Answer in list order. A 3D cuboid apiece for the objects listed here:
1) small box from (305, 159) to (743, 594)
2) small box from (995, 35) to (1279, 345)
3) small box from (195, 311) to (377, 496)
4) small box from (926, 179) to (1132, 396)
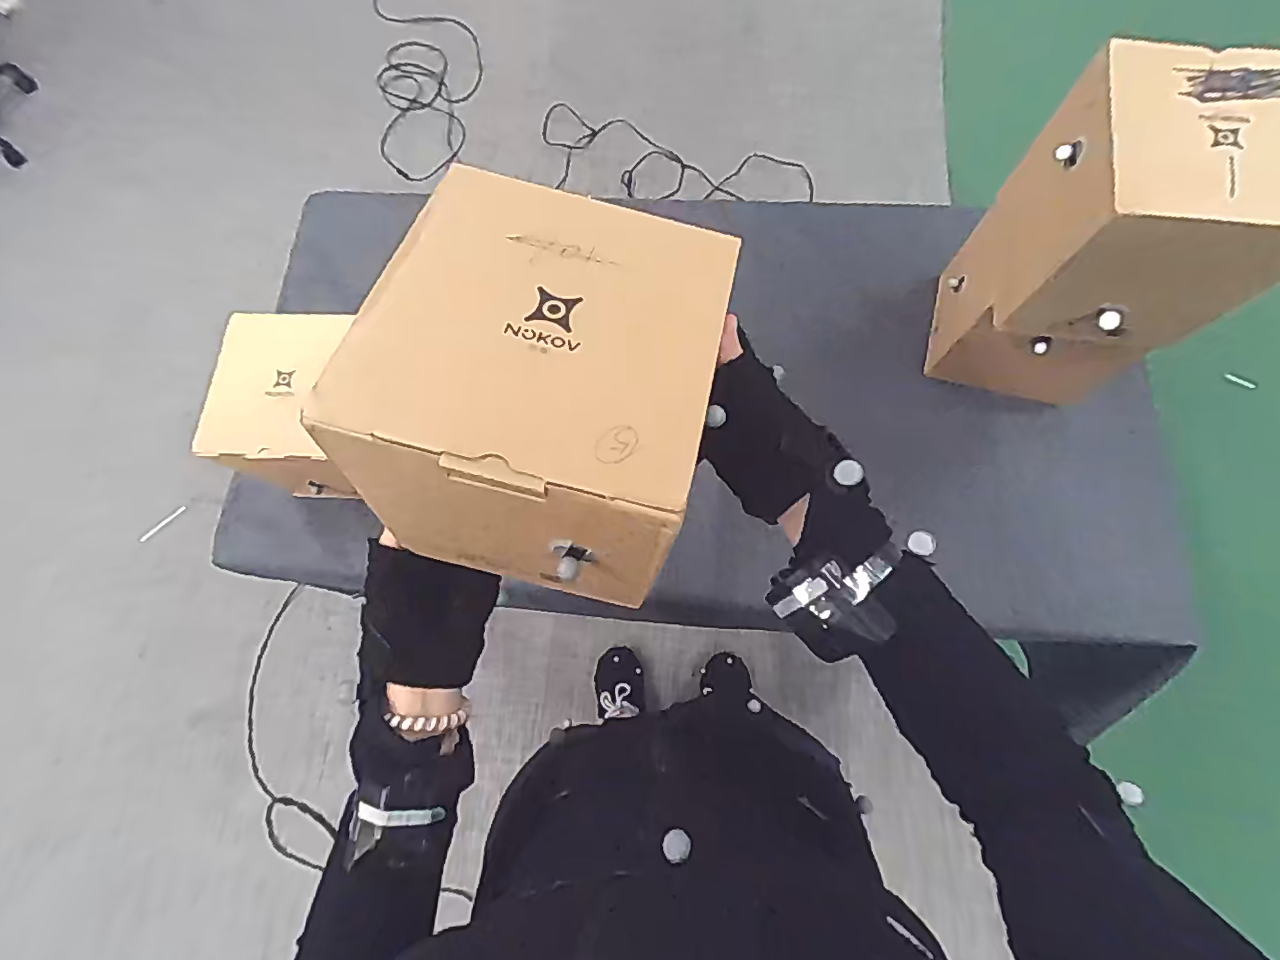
[{"bbox_3d":[-0.050,-0.045,0.329,0.168,0.176,0.179,15,64,-1],"label":"small box"},{"bbox_3d":[0.452,-0.249,0.491,0.168,0.176,0.179,9,76,7],"label":"small box"},{"bbox_3d":[-0.387,-0.087,0.672,0.168,0.176,0.179,2,74,4],"label":"small box"},{"bbox_3d":[0.475,-0.220,0.652,0.179,0.176,0.168,15,76,8],"label":"small box"}]
